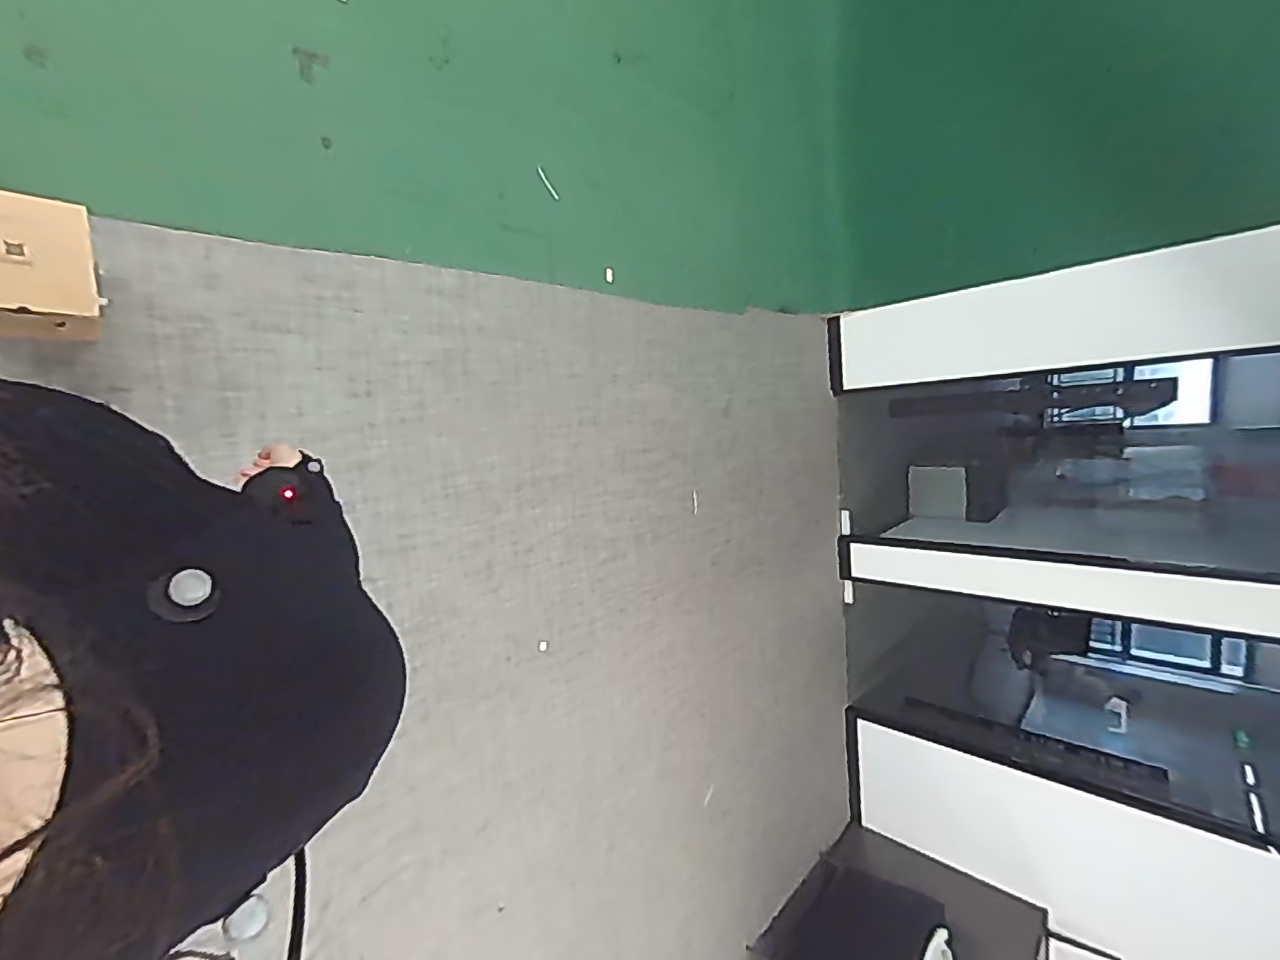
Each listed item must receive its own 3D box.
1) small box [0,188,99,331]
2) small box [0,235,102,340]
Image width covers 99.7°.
[{"bbox_3d":[-0.971,-0.338,0.846,0.168,0.176,0.179,-8,97,-46],"label":"small box"},{"bbox_3d":[-1.086,-0.350,0.959,0.179,0.176,0.168,-6,96,-47],"label":"small box"}]
